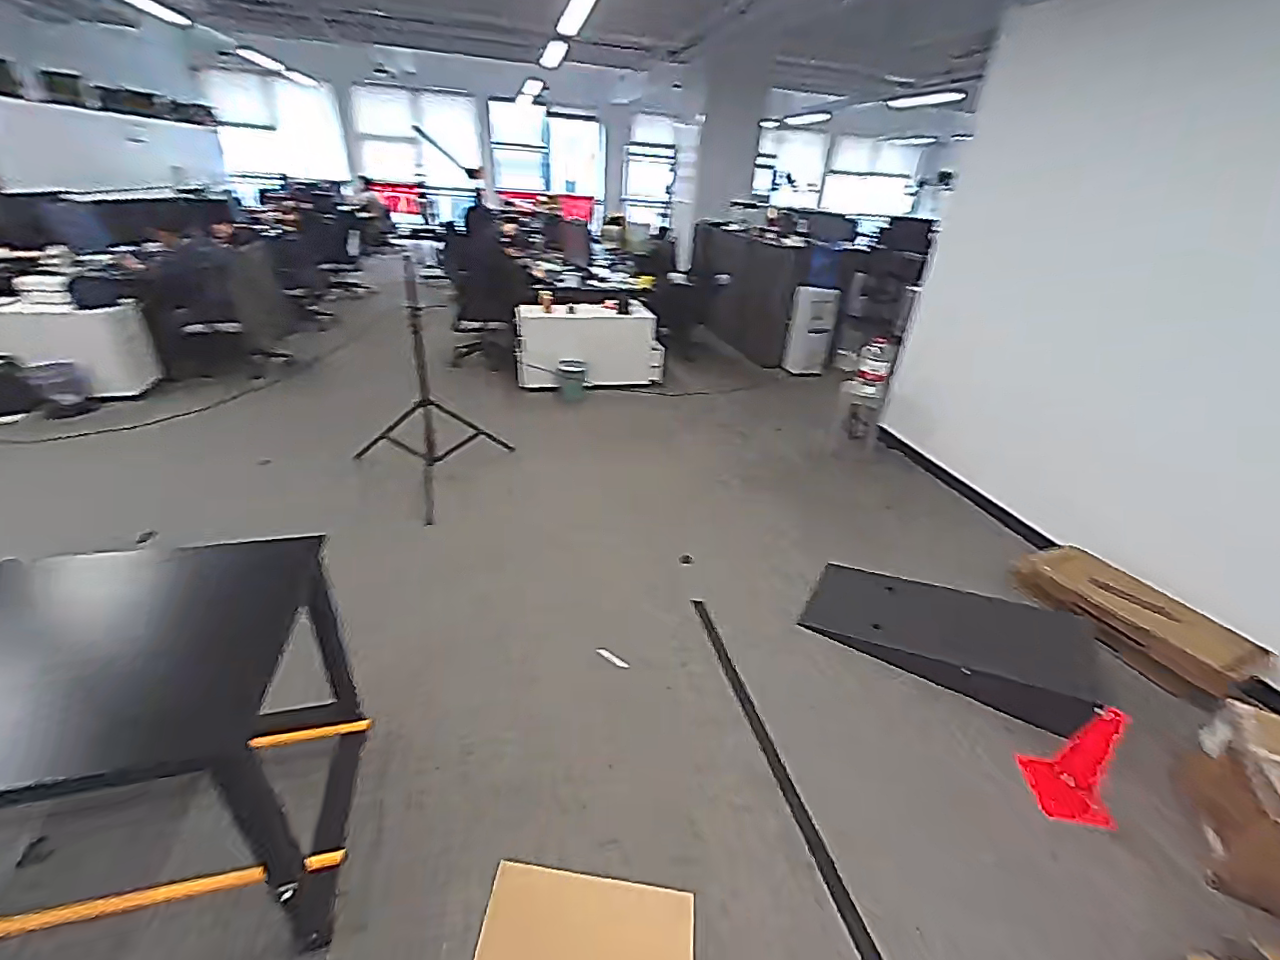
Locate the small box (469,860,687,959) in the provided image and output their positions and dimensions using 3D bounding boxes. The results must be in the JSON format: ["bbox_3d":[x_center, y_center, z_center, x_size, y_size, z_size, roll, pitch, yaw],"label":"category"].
[{"bbox_3d":[-0.060,0.443,0.428,0.168,0.176,0.179,9,37,-1],"label":"small box"}]
